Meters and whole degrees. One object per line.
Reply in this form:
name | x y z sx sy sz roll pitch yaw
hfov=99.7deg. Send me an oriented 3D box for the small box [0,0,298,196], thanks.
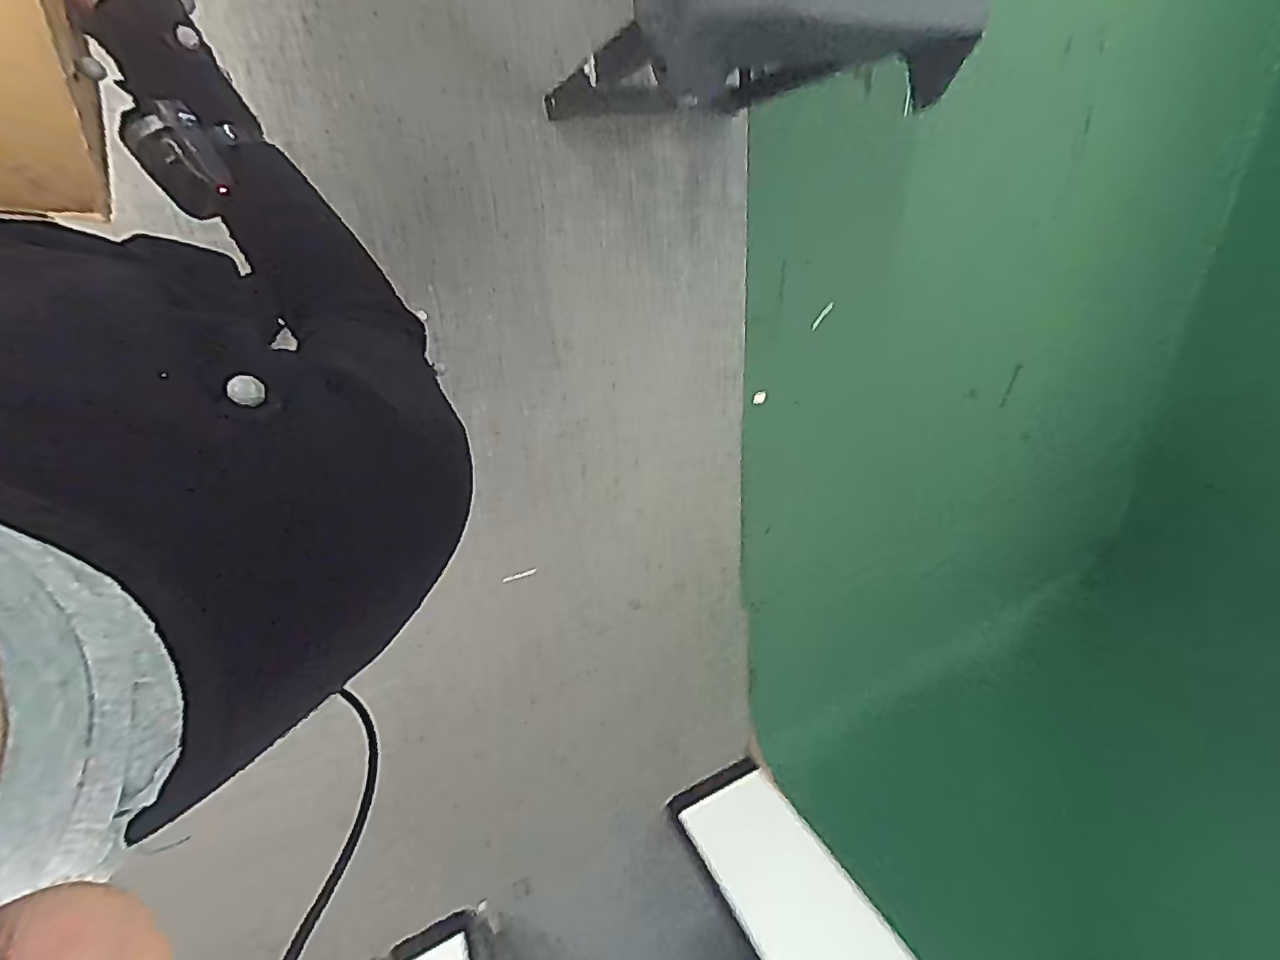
small box | -0.368 -0.335 0.348 0.176 0.168 0.179 -50 163 16
